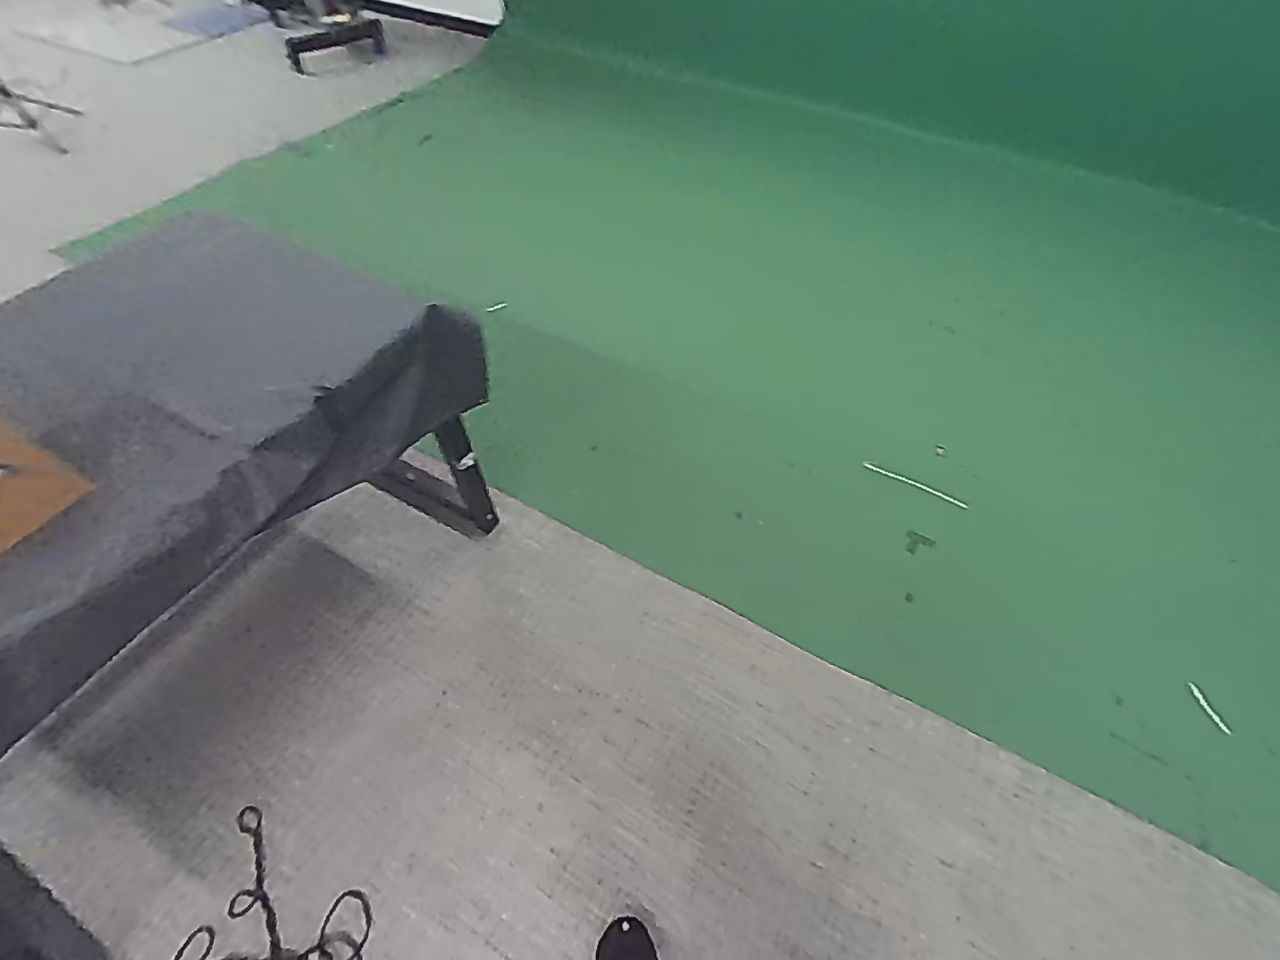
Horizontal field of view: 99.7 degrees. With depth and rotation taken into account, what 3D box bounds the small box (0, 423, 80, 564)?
[{"bbox_3d":[-0.826,0.002,0.627,0.168,0.176,0.179,23,58,16],"label":"small box"}]
